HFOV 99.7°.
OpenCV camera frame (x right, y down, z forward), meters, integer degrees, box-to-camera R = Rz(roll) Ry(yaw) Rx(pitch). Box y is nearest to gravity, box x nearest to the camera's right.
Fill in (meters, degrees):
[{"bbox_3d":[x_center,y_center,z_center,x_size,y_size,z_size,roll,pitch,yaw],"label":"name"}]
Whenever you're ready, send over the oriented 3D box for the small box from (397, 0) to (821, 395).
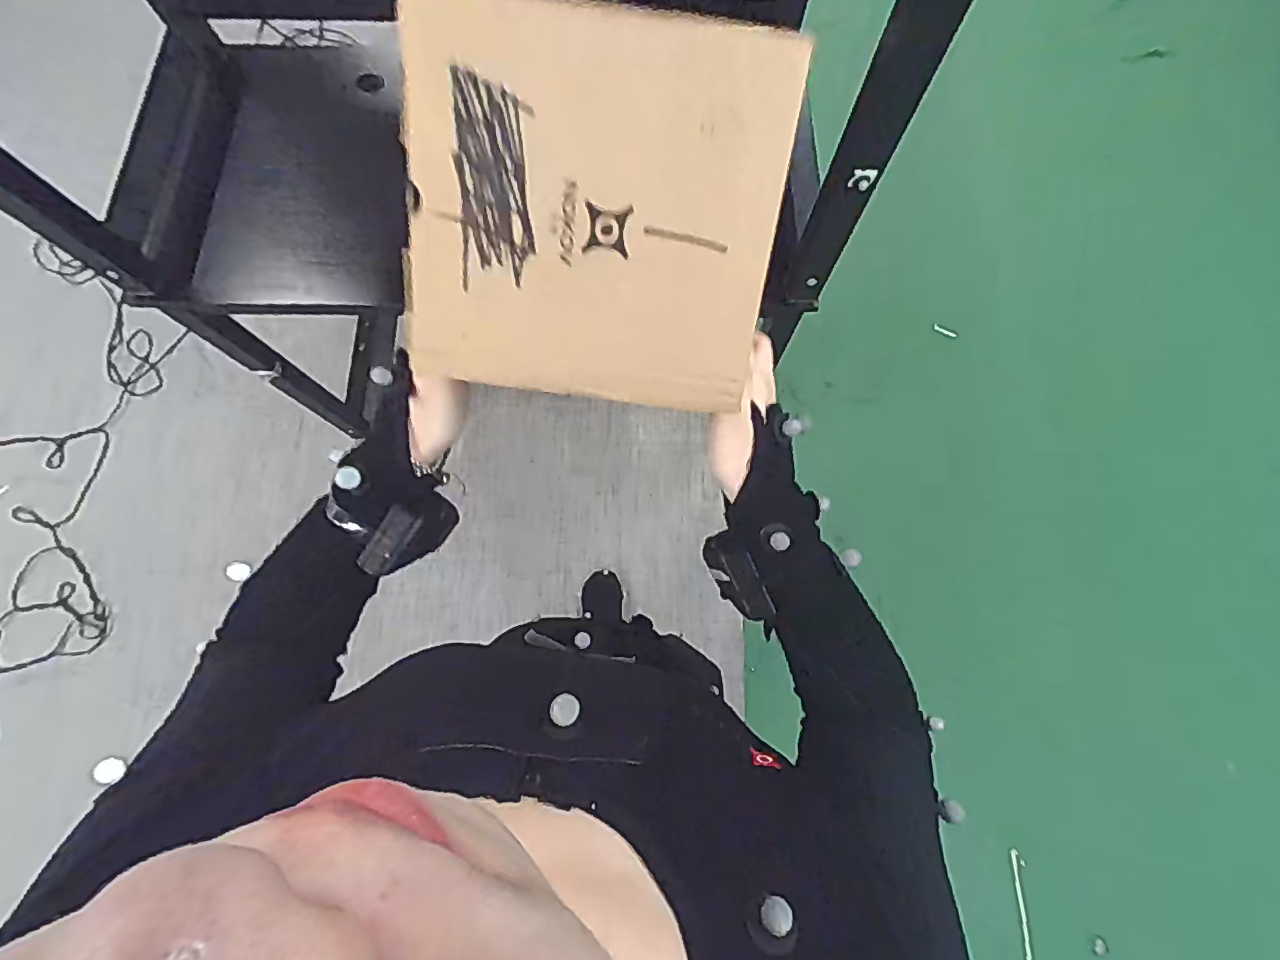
[{"bbox_3d":[-0.020,-0.161,0.321,0.179,0.176,0.168,8,114,-1],"label":"small box"}]
